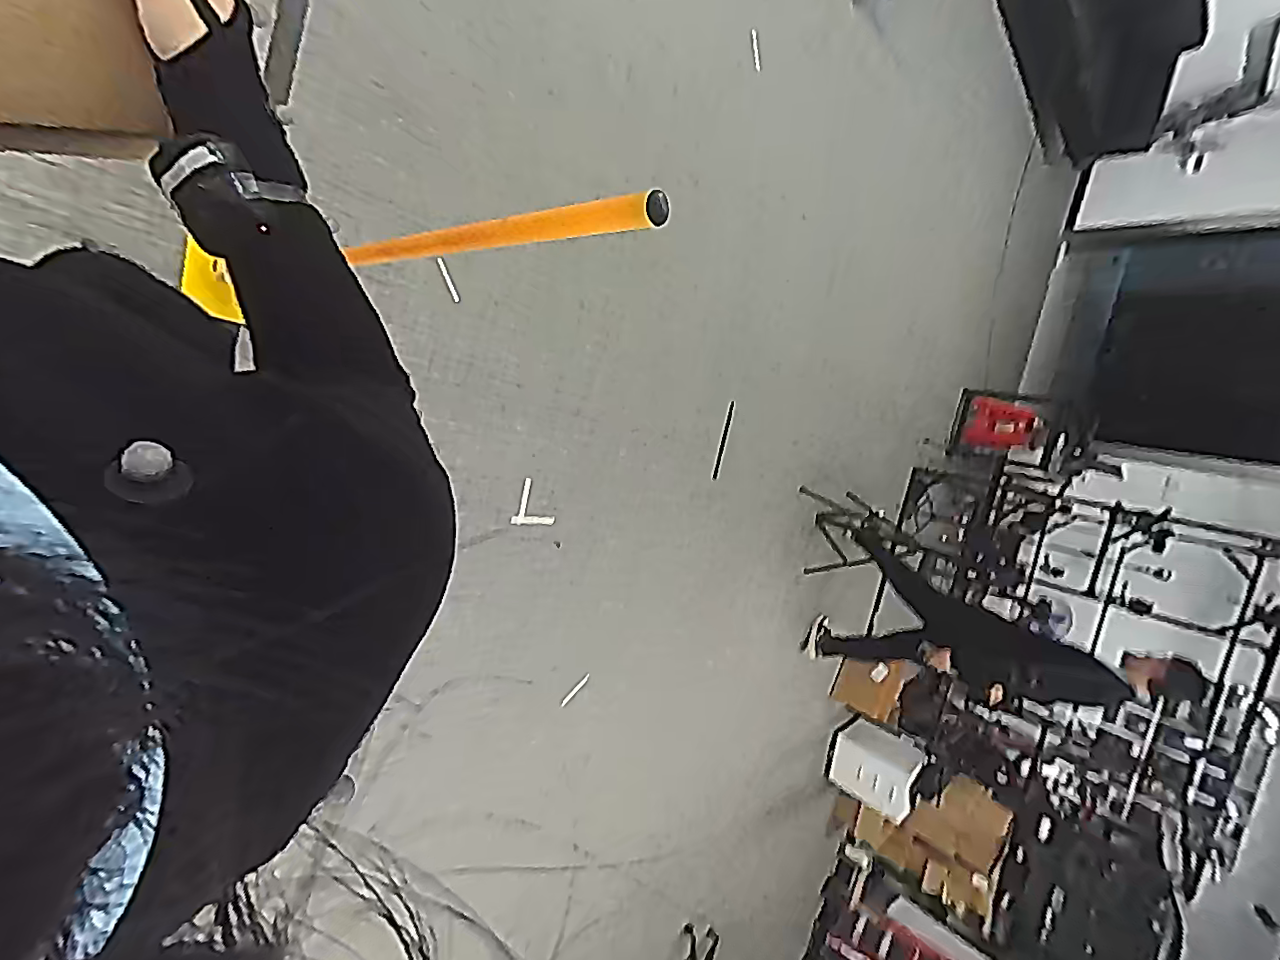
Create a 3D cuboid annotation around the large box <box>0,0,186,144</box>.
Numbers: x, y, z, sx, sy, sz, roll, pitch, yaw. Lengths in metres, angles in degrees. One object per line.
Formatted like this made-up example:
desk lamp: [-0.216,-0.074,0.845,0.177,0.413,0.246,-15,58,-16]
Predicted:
large box: [-0.583,-0.402,0.323,0.408,0.320,0.320,-19,123,-37]
